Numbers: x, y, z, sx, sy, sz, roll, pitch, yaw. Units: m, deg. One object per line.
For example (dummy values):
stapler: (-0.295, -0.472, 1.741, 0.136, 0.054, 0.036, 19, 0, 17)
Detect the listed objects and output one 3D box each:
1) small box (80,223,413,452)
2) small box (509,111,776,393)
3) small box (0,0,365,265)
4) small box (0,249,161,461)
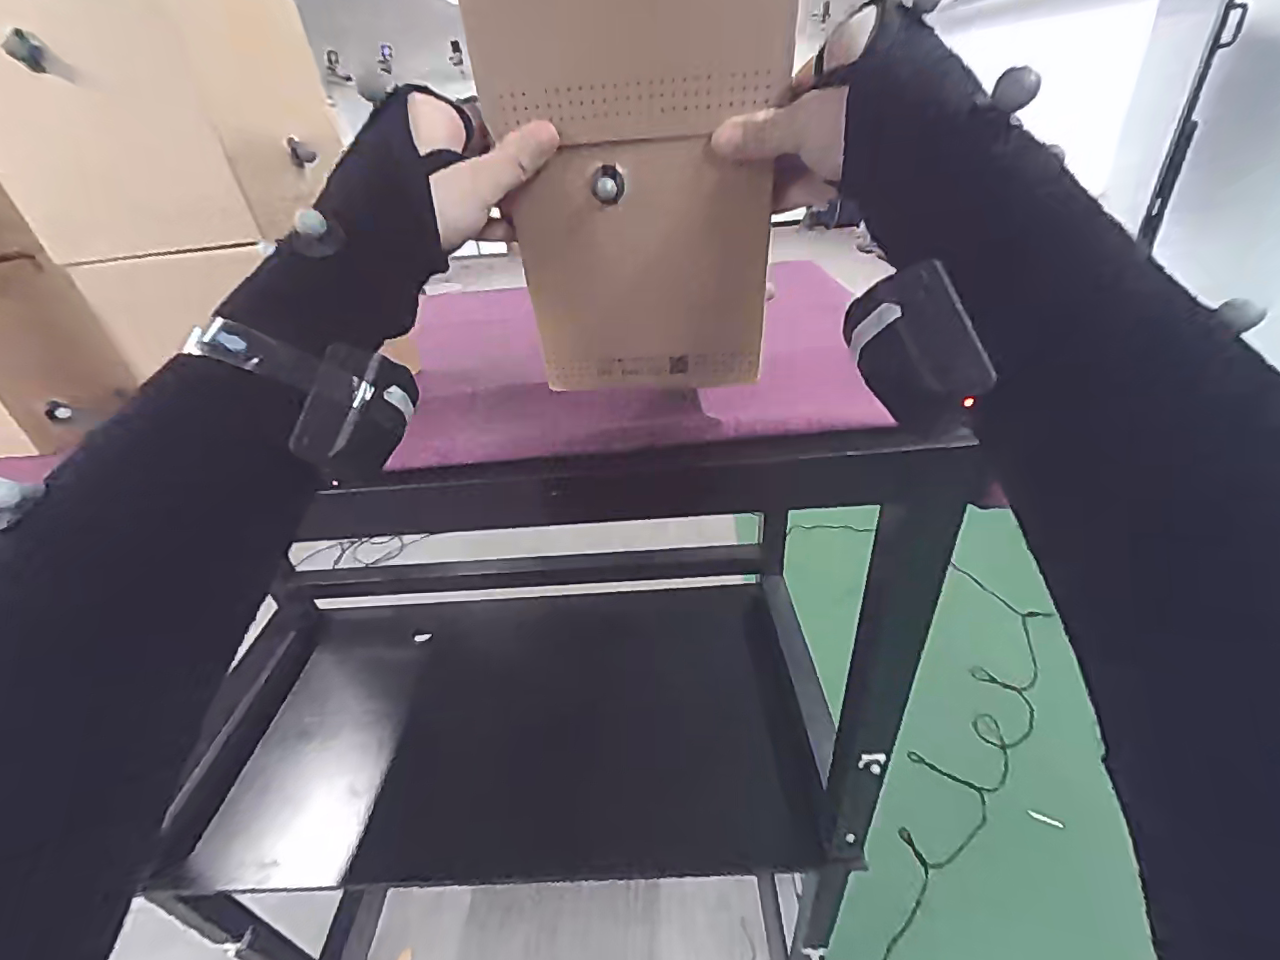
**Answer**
small box: (-0.346, -0.142, 0.526, 0.168, 0.176, 0.179, -3, 33, 6)
small box: (0.013, -0.184, 0.437, 0.168, 0.176, 0.179, -1, 39, 7)
small box: (-0.365, -0.277, 0.435, 0.179, 0.176, 0.168, -4, 32, 6)
small box: (-0.653, -0.125, 0.546, 0.179, 0.176, 0.168, -4, 32, 4)
